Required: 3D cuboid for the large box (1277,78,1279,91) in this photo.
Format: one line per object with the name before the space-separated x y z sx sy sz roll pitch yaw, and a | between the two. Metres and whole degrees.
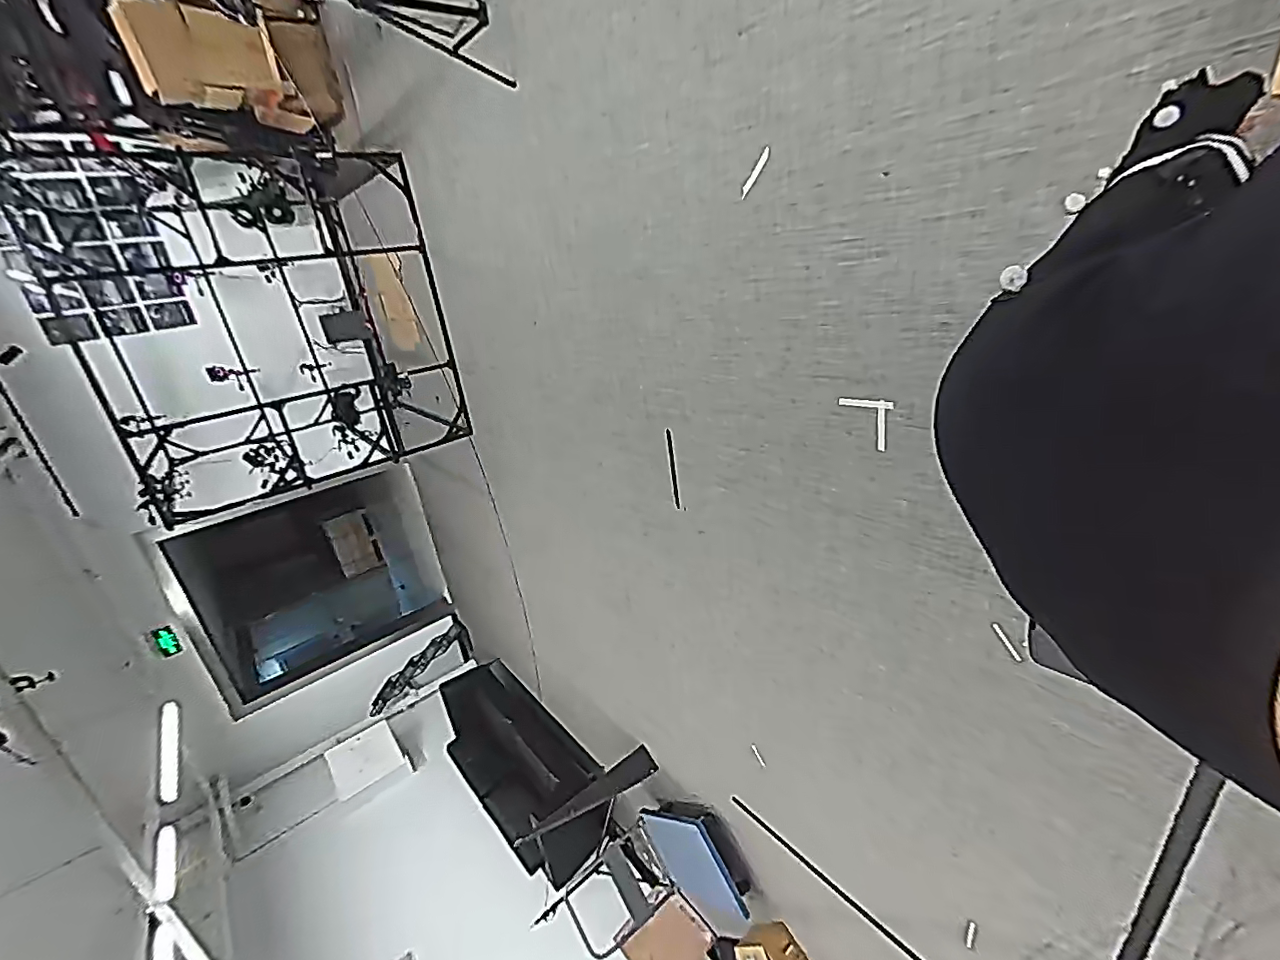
large box | 1.062 -0.659 0.600 0.408 0.320 0.320 19 125 47
